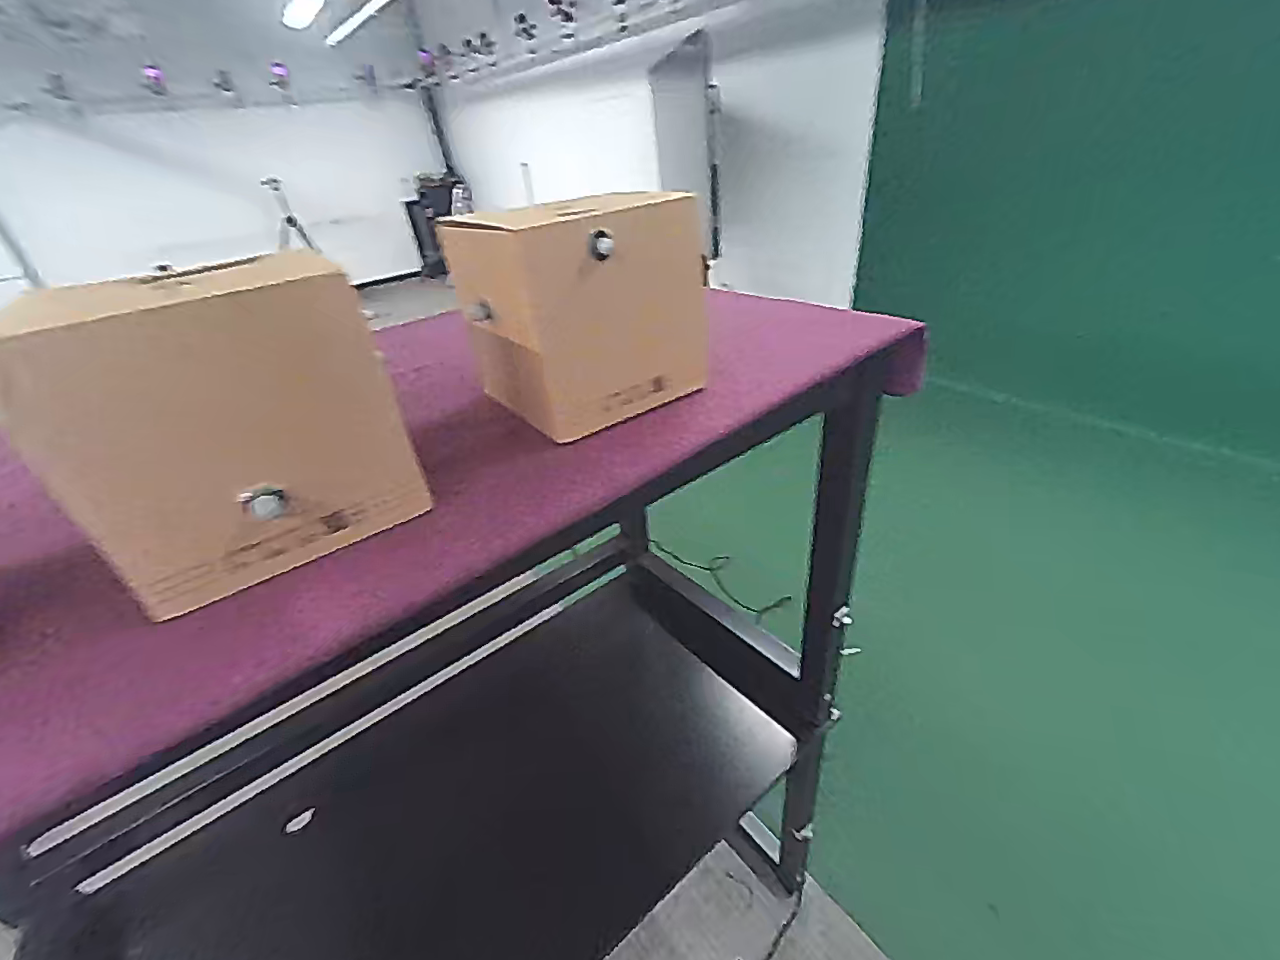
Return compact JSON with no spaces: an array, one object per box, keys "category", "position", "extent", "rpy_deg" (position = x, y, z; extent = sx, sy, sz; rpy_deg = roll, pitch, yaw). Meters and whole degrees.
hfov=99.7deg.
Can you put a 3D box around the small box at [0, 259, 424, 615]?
[{"category":"small box","position":[-0.273,-0.043,0.371],"extent":[0.168,0.176,0.179],"rpy_deg":[-26,37,-27]}]

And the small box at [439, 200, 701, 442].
[{"category":"small box","position":[-0.062,-0.153,0.505],"extent":[0.168,0.176,0.179],"rpy_deg":[-26,35,-26]}]
